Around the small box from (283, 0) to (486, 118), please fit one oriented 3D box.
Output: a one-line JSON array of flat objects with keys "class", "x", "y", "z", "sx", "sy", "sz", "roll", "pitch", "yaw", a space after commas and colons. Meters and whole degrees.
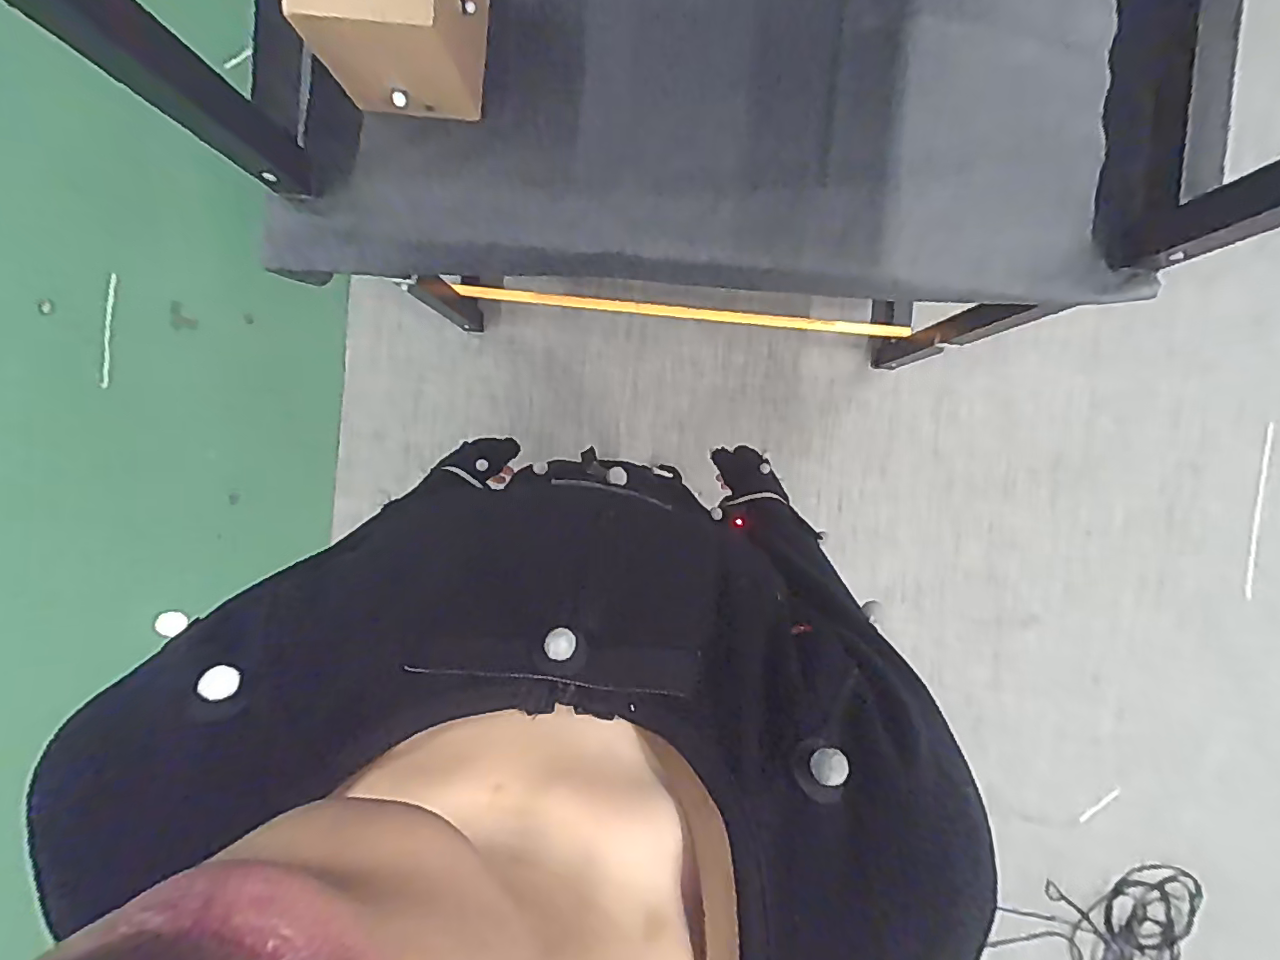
[{"class": "small box", "x": -0.292, "y": -0.584, "z": 0.652, "sx": 0.168, "sy": 0.176, "sz": 0.179, "roll": 5, "pitch": 93, "yaw": 0}]
